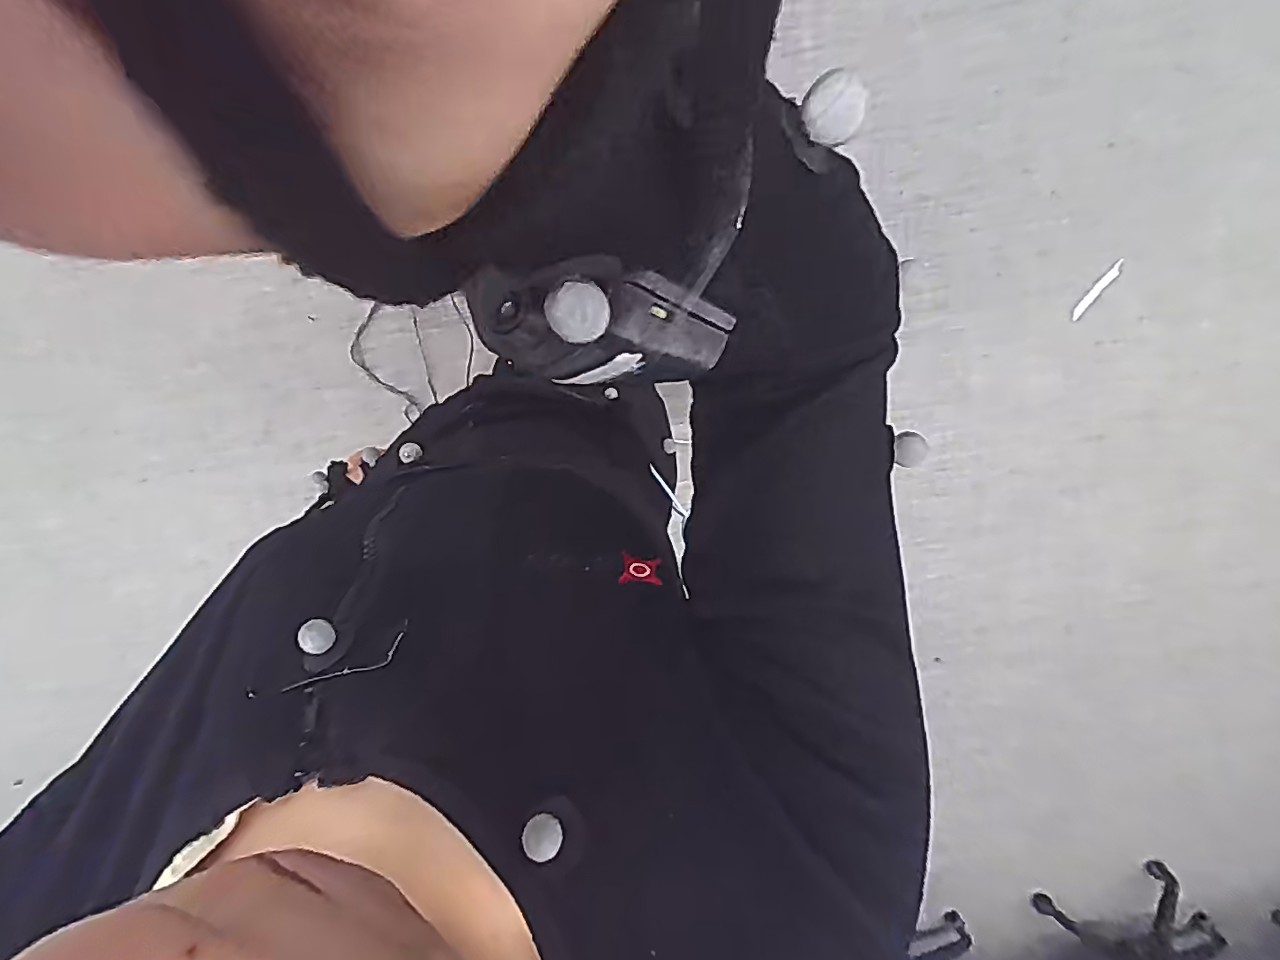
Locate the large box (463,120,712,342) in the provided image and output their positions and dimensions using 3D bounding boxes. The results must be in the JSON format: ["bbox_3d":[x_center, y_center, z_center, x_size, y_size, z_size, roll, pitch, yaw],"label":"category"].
[{"bbox_3d":[-0.095,-0.474,1.109,0.408,0.320,0.320,-10,106,-1],"label":"large box"}]
